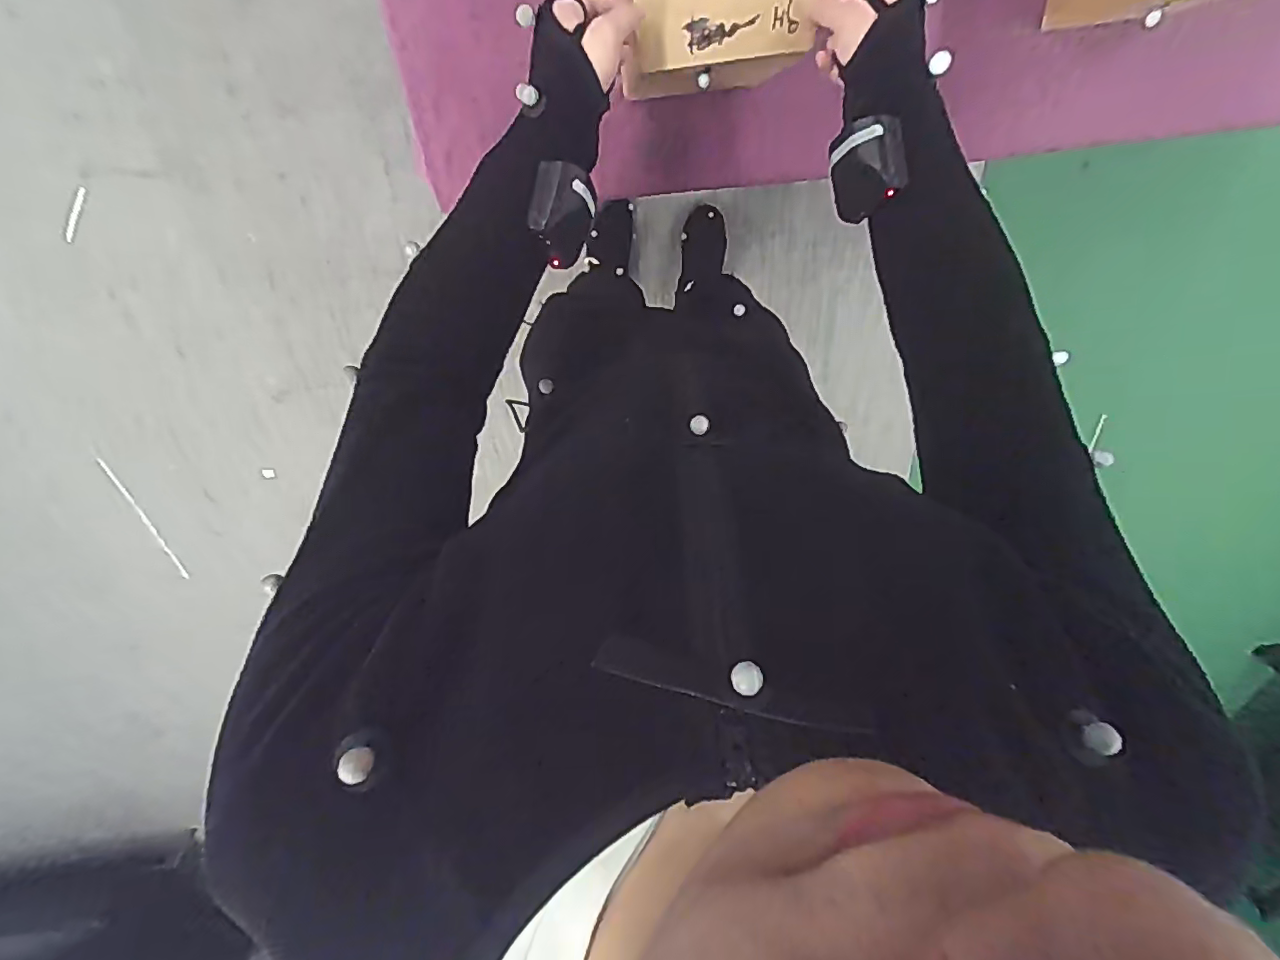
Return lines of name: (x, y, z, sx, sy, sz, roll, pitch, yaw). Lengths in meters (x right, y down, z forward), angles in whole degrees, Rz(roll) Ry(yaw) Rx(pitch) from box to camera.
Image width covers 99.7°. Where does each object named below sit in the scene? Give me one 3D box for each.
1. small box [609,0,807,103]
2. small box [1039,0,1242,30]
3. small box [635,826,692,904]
small box: (0.054, -0.493, 0.527, 0.168, 0.176, 0.179, -8, 118, -2)
small box: (0.548, -0.576, 0.539, 0.168, 0.176, 0.179, -8, 121, -1)
small box: (0.075, 1.313, 1.854, 0.168, 0.176, 0.179, -1, 123, -7)
